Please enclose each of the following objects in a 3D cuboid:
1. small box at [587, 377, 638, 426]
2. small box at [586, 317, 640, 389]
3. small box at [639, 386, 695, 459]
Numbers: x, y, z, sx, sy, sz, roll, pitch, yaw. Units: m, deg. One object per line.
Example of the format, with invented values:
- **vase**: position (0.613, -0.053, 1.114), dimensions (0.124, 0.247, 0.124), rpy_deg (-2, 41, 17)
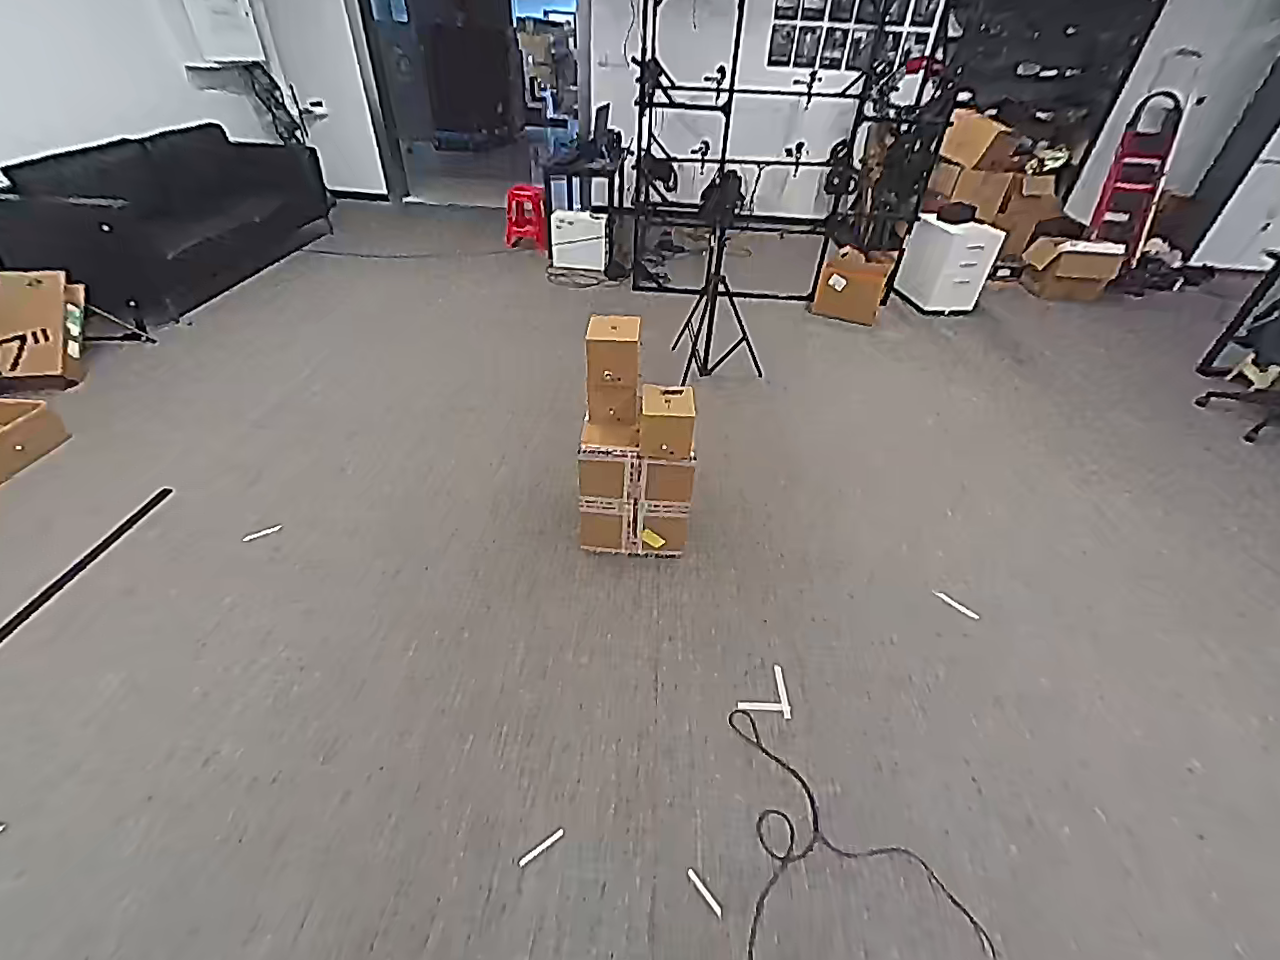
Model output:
- **small box**: position (-0.093, -0.310, 1.902), dimensions (0.168, 0.176, 0.179), rpy_deg (2, 41, 1)
- **small box**: position (-0.085, -0.419, 1.780), dimensions (0.168, 0.176, 0.179), rpy_deg (1, 42, 1)
- **small box**: position (0.084, -0.189, 1.770), dimensions (0.168, 0.176, 0.179), rpy_deg (2, 42, -1)
